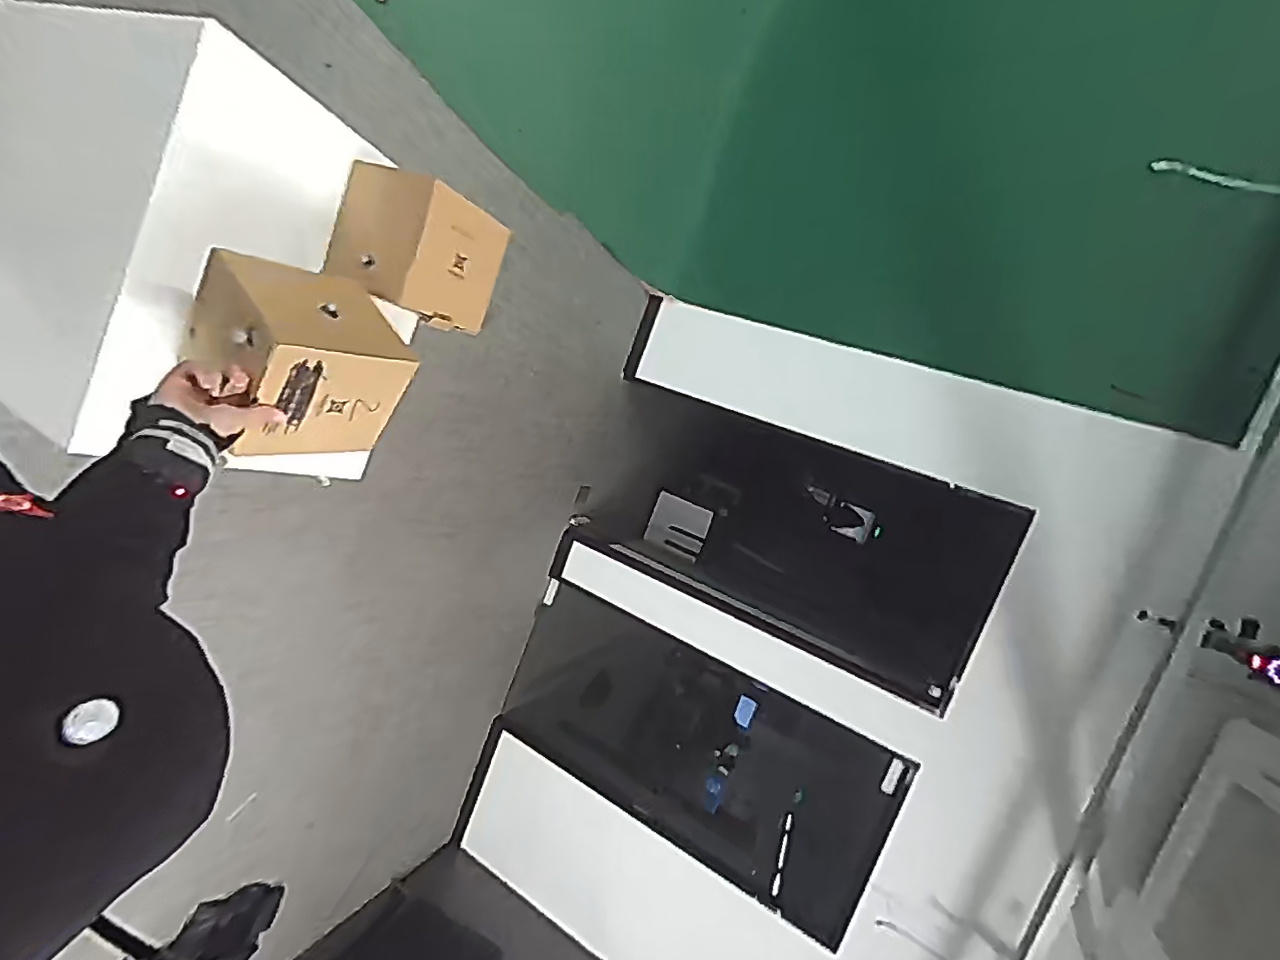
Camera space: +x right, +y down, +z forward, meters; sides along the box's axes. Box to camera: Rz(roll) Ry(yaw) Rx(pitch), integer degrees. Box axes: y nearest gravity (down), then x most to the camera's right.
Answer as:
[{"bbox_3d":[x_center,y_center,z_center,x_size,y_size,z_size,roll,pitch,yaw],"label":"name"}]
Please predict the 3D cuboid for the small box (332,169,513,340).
[{"bbox_3d":[-0.330,-0.337,0.821,0.168,0.176,0.179,1,109,-68],"label":"small box"}]
